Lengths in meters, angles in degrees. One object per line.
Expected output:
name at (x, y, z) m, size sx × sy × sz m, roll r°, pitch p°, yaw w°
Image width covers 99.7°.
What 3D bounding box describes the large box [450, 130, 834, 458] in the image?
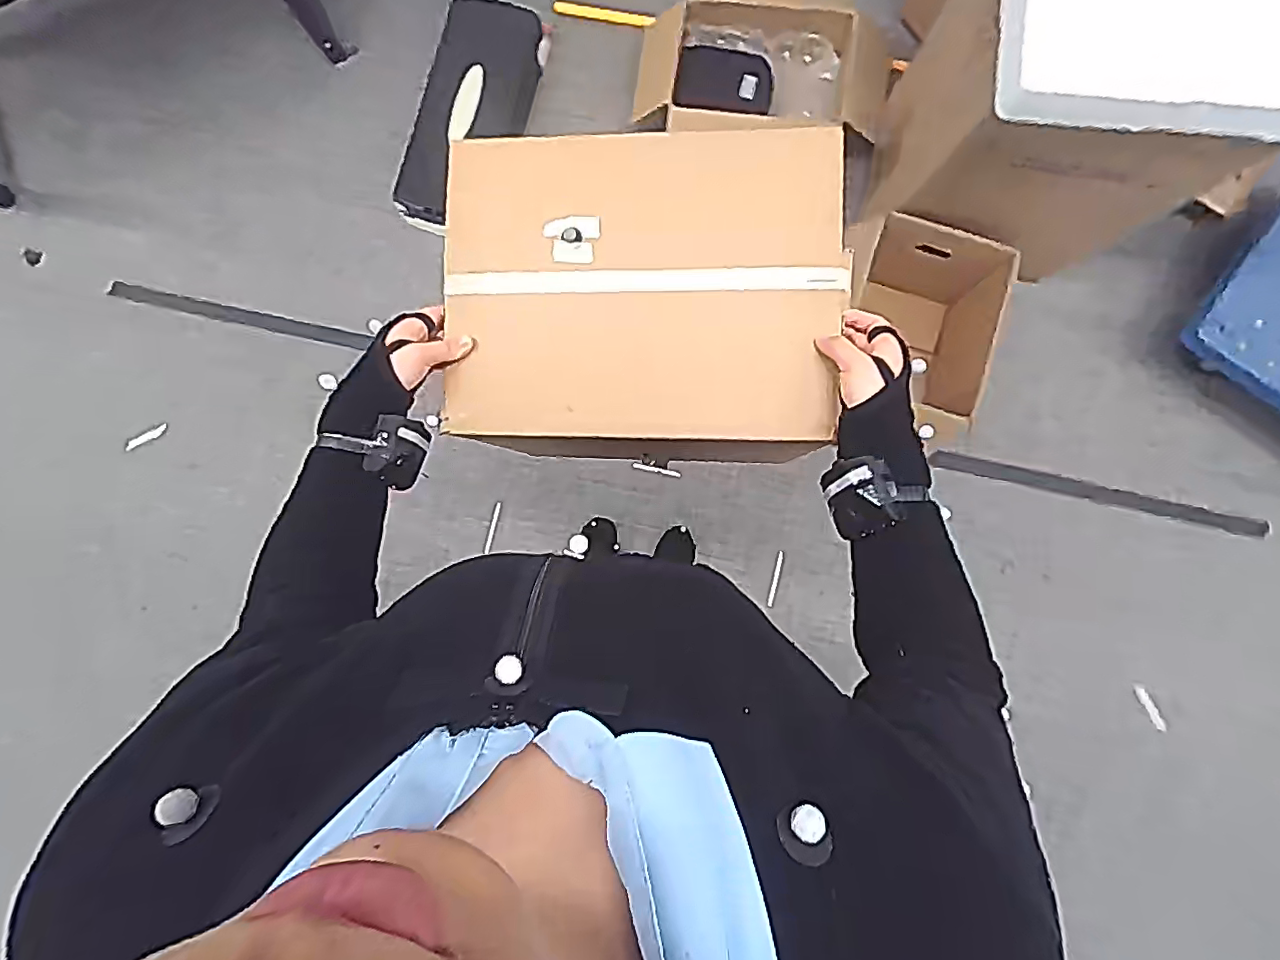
large box at (0.013, -0.192, 0.707) m, size 0.408 × 0.320 × 0.320 m, roll 0°, pitch 87°, yaw 7°
